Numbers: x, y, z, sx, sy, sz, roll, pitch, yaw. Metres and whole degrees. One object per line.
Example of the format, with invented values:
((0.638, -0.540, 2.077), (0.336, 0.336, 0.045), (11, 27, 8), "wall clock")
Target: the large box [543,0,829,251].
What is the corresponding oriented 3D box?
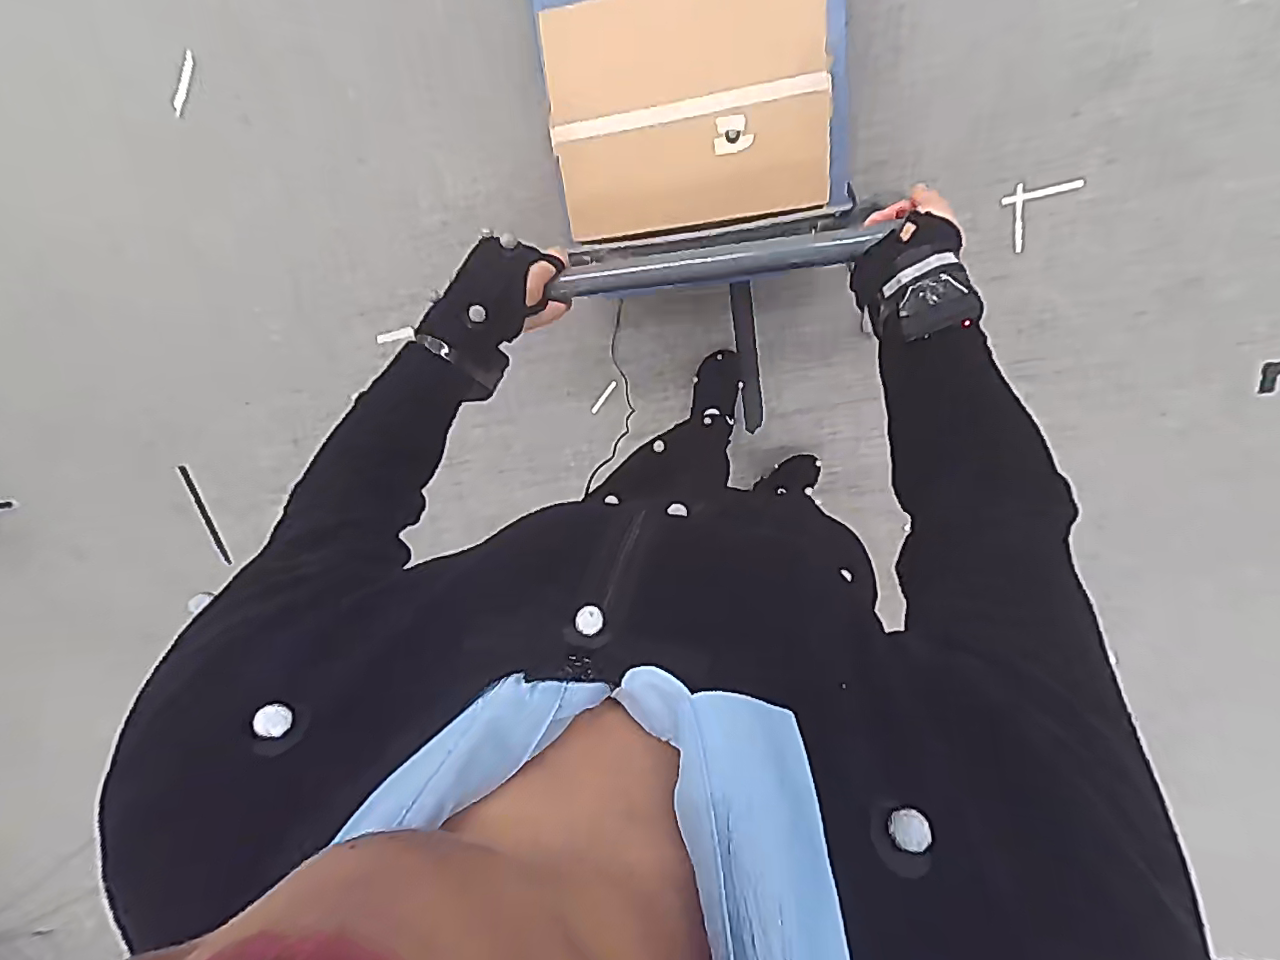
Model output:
((0.092, -0.602, 0.943), (0.408, 0.320, 0.320), (-4, 110, 11), "large box")
